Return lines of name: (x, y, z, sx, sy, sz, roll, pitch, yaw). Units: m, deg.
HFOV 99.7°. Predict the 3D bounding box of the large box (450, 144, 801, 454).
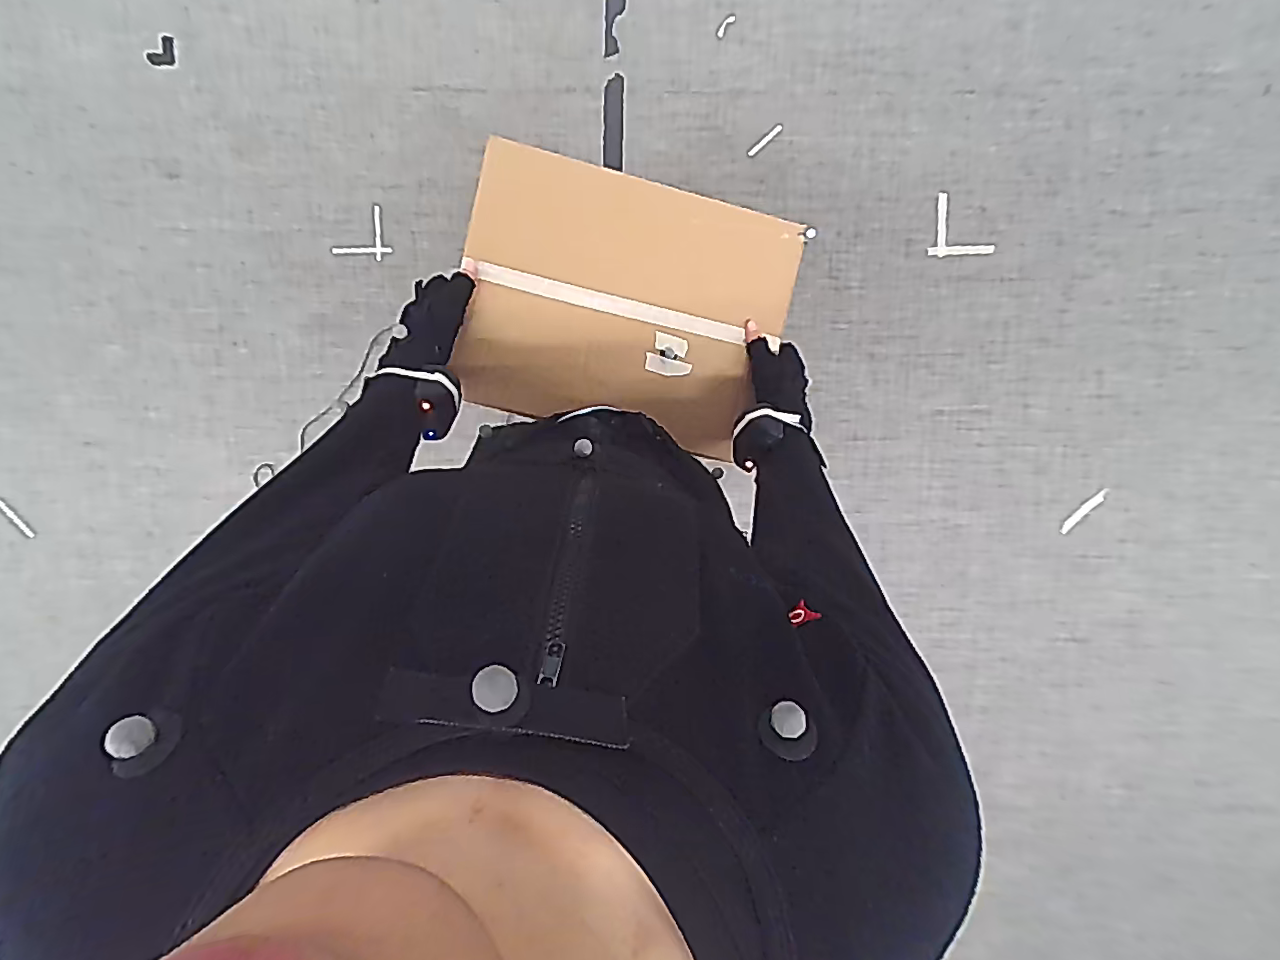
large box: (-0.031, -0.234, 0.833, 0.408, 0.320, 0.320, 13, 94, -7)
